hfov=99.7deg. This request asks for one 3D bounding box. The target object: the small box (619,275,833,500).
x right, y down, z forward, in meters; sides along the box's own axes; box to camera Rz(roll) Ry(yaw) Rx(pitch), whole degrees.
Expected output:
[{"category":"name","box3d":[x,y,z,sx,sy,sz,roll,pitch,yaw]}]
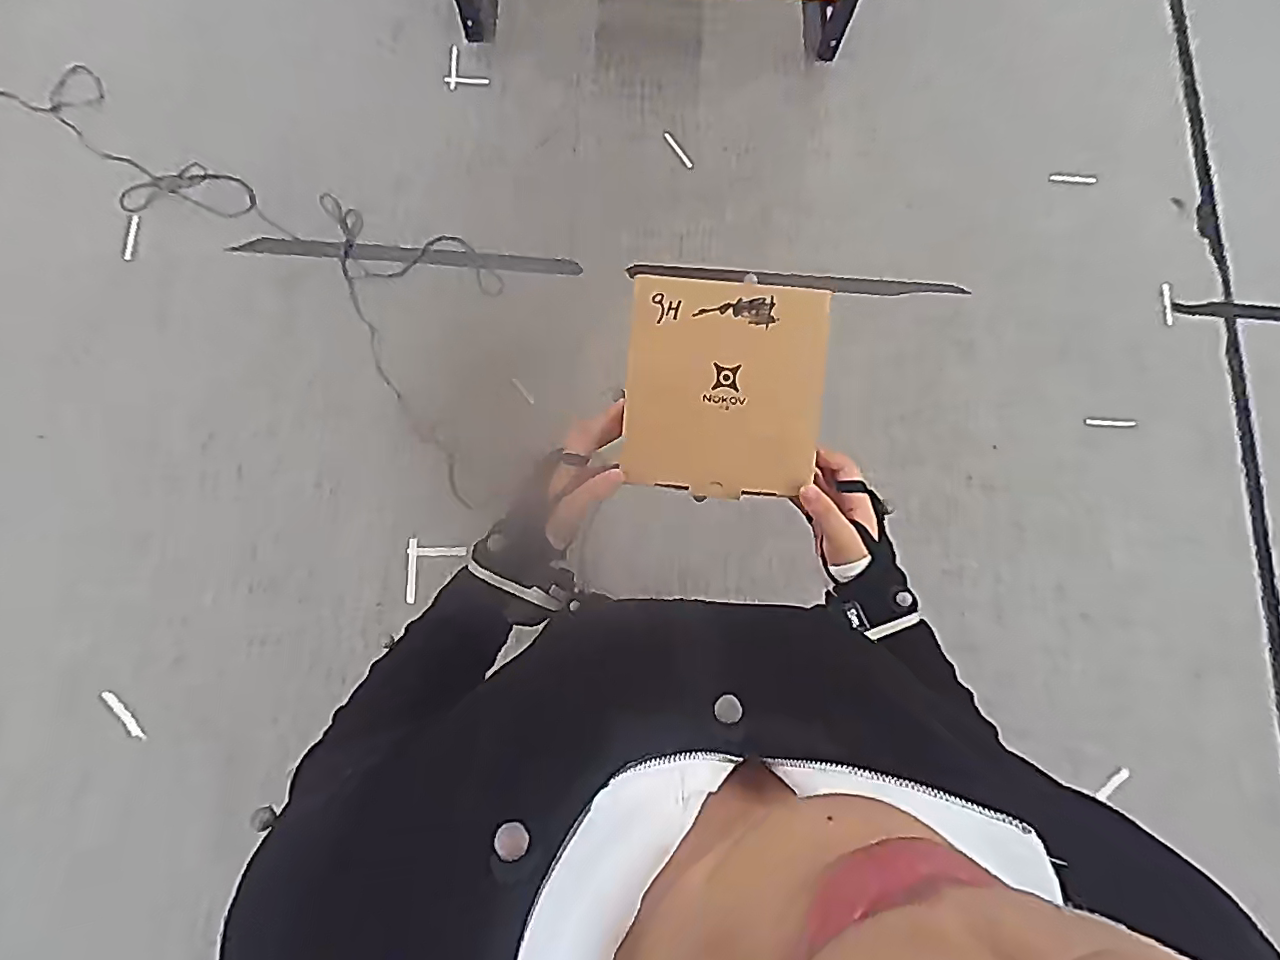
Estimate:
[{"category":"small box","box3d":[0.071,-0.082,0.531,0.168,0.176,0.179,5,93,-1]}]
